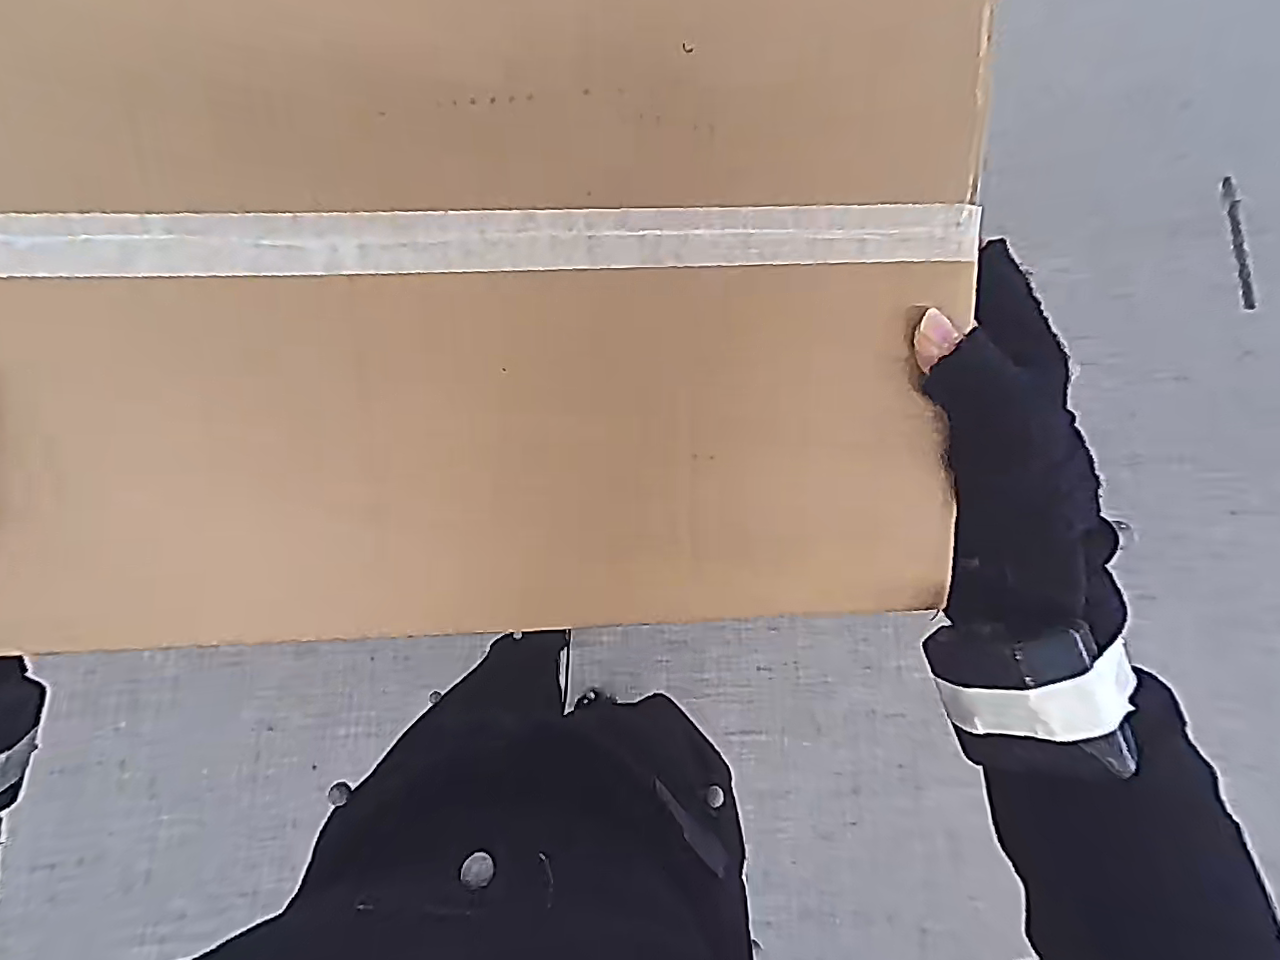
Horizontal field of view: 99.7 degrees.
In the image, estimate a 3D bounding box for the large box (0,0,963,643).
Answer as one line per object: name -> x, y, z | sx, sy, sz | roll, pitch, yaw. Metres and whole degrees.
large box -> -0.079, -0.116, 0.361 | 0.408, 0.320, 0.320 | -2, 100, -4
